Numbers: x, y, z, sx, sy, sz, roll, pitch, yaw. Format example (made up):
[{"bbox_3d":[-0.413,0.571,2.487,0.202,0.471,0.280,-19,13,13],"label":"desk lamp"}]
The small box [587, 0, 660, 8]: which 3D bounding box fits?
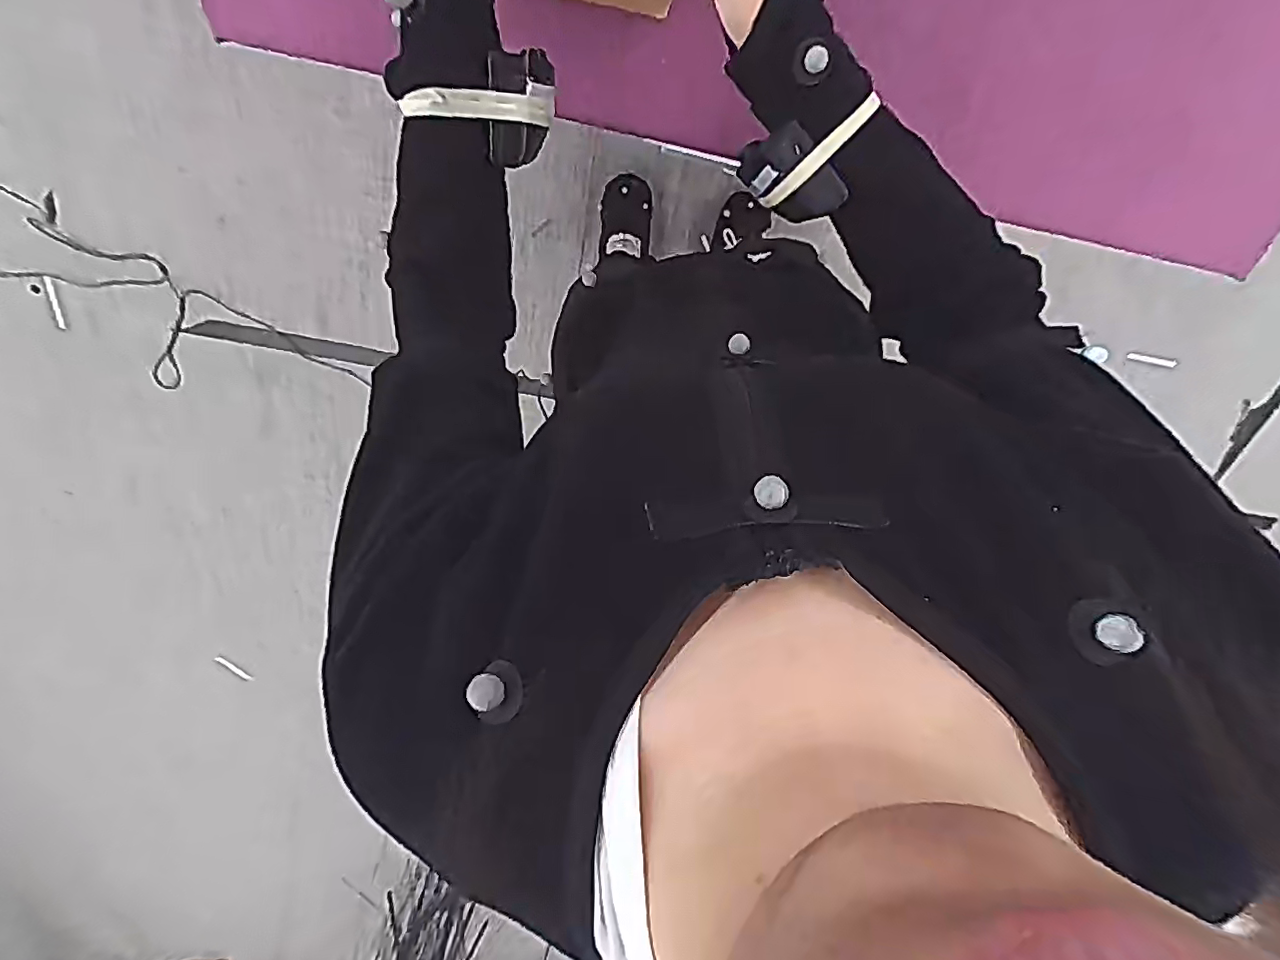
[{"bbox_3d":[-0.043,-0.501,0.419,0.179,0.176,0.168,8,119,-6],"label":"small box"}]
